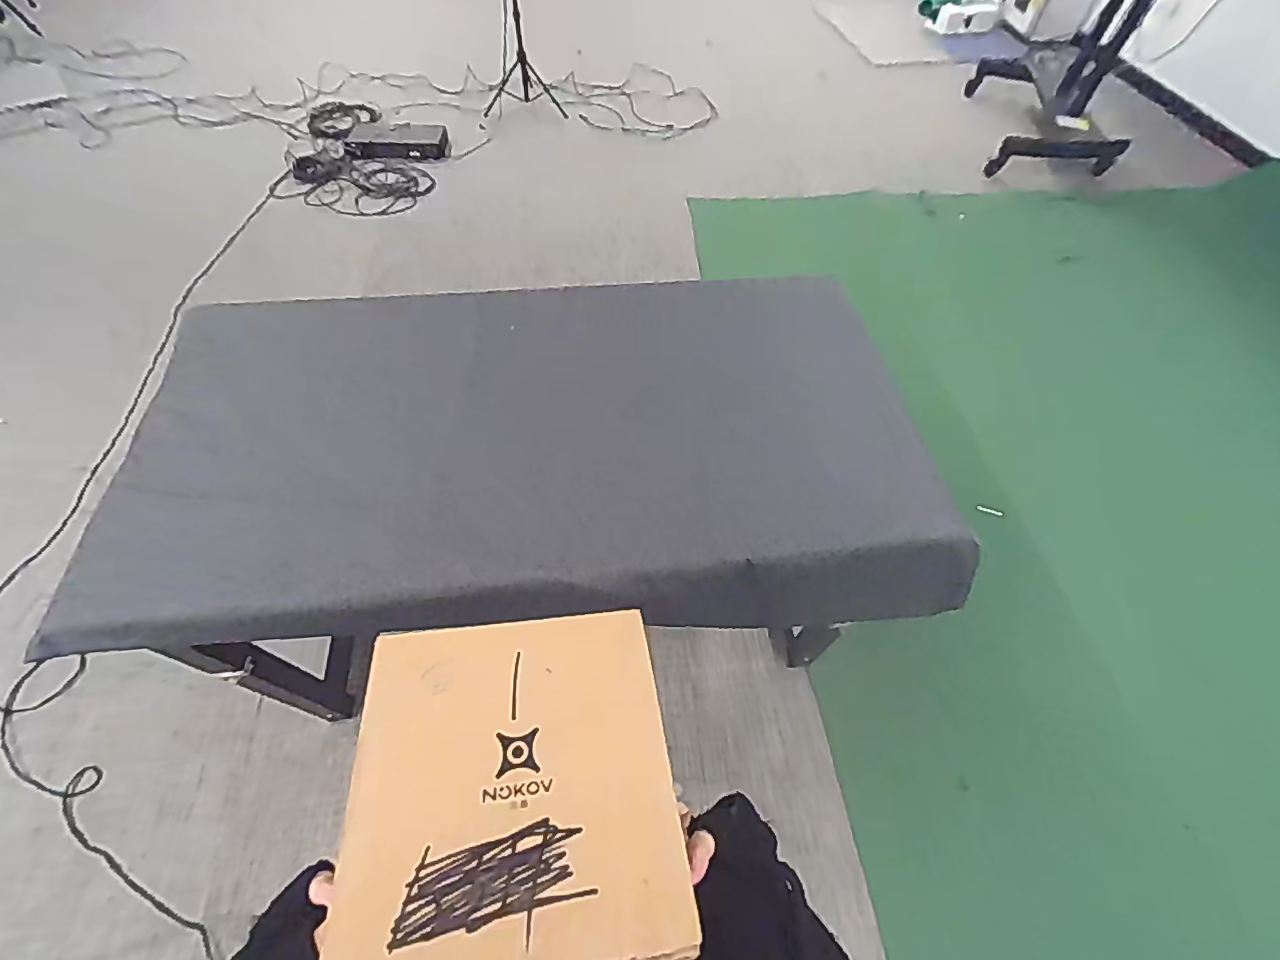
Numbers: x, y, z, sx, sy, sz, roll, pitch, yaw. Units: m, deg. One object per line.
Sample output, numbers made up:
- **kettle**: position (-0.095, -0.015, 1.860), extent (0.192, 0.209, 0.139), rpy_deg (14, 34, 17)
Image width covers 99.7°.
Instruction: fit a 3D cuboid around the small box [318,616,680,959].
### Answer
- **small box**: position (-0.078, 0.212, 0.353), extent (0.168, 0.176, 0.179), rpy_deg (-2, 47, -10)
